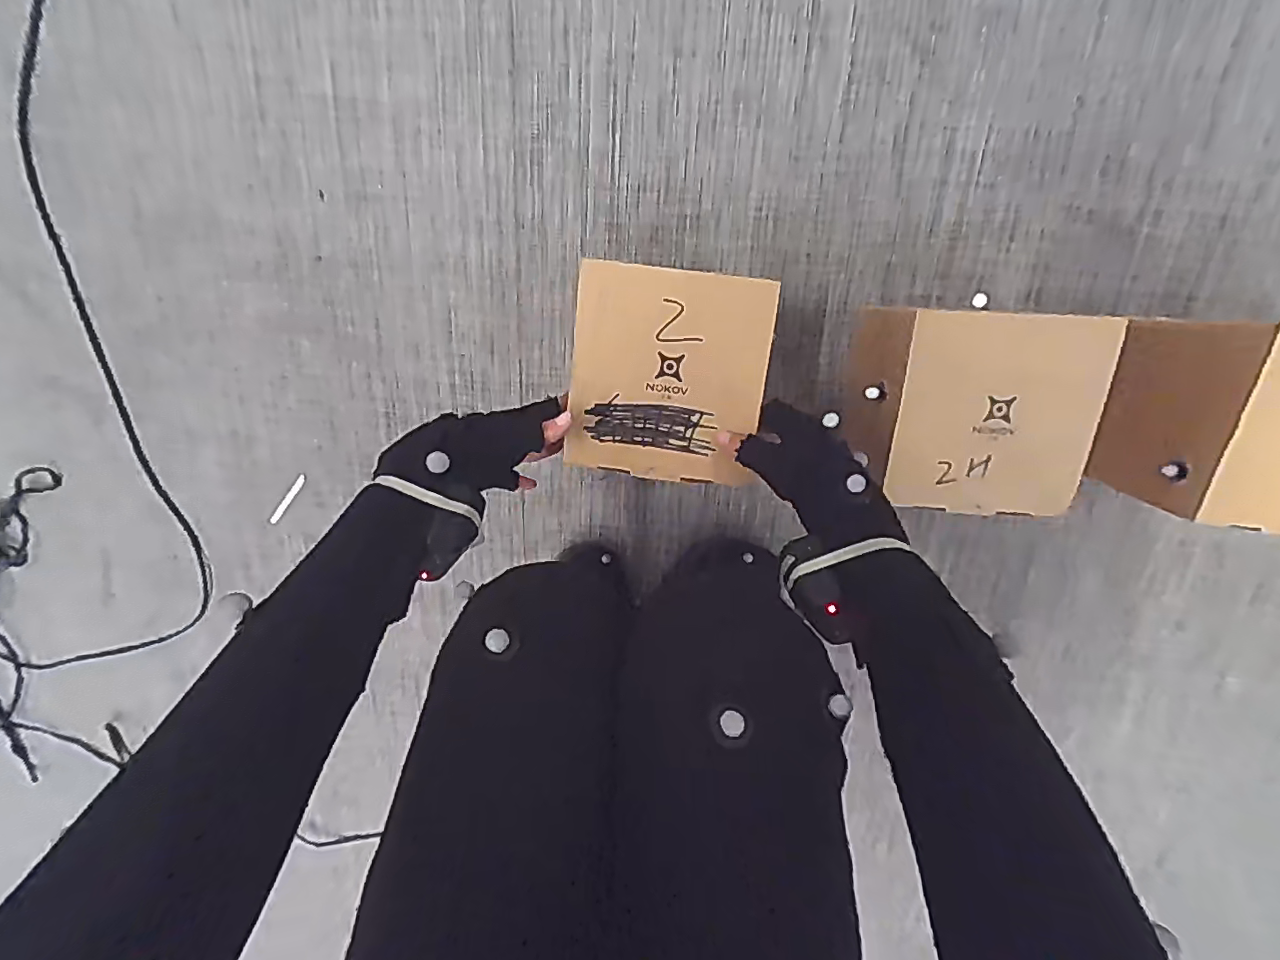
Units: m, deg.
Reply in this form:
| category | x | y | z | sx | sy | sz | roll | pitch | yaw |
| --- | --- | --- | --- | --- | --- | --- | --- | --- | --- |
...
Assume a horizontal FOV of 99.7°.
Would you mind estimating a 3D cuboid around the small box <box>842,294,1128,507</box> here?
| category | x | y | z | sx | sy | sz | roll | pitch | yaw |
| --- | --- | --- | --- | --- | --- | --- | --- | --- | --- |
| small box | 0.311 | -0.089 | 0.536 | 0.168 | 0.176 | 0.179 | 4 | 110 | 6 |

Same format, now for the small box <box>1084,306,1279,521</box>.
| category | x | y | z | sx | sy | sz | roll | pitch | yaw |
| --- | --- | --- | --- | --- | --- | --- | --- | --- | --- |
| small box | 0.578 | -0.071 | 0.518 | 0.168 | 0.176 | 0.179 | 5 | 110 | 4 |
